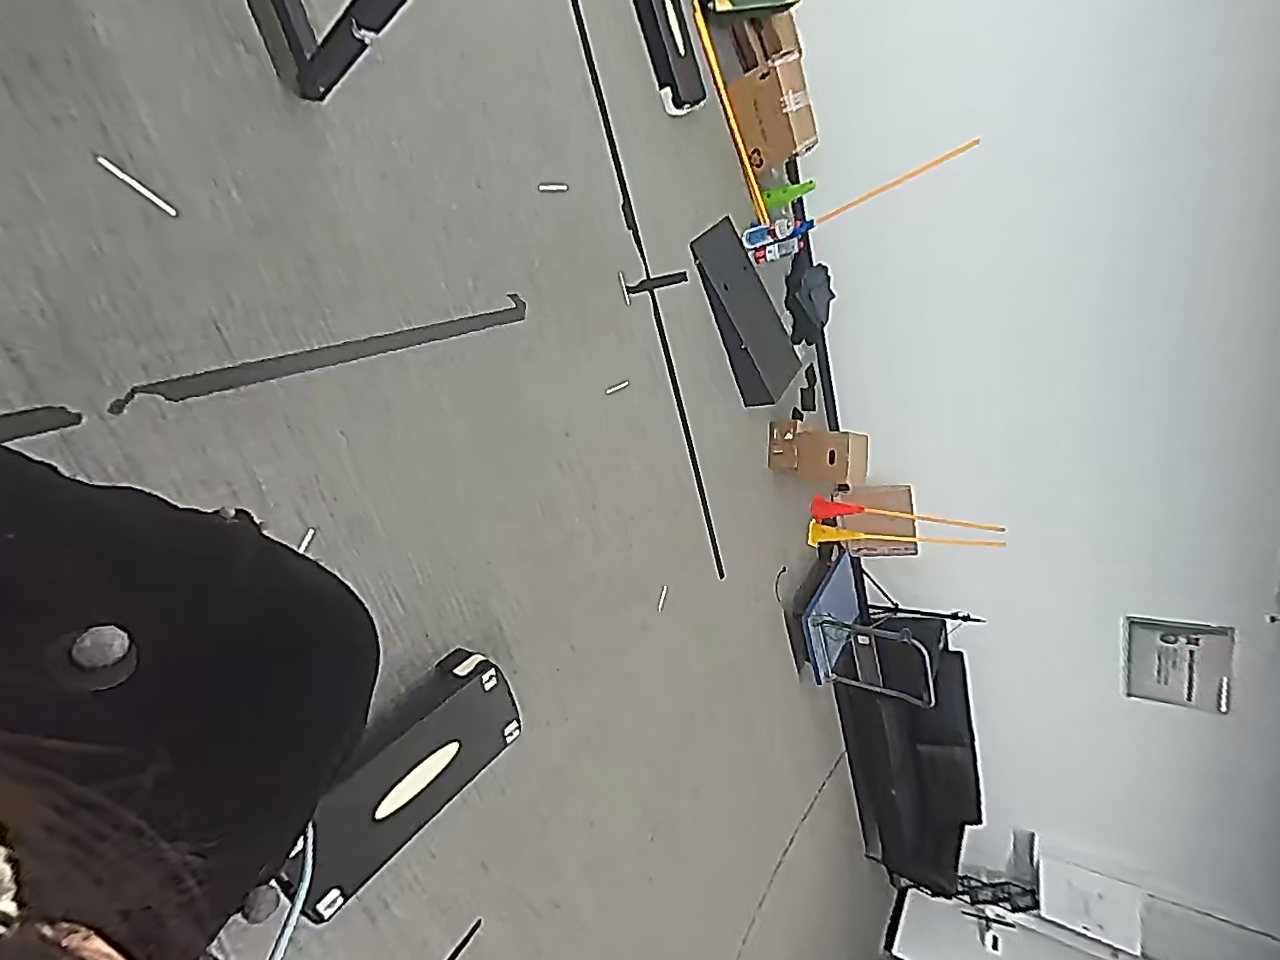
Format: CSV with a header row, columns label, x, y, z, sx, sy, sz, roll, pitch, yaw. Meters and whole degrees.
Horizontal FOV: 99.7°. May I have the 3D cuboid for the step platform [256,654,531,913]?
label,x,y,z,sx,sy,sz,roll,pitch,yaw
step platform,-0.619,0.778,1.489,0.684,0.204,0.286,-27,109,-49
